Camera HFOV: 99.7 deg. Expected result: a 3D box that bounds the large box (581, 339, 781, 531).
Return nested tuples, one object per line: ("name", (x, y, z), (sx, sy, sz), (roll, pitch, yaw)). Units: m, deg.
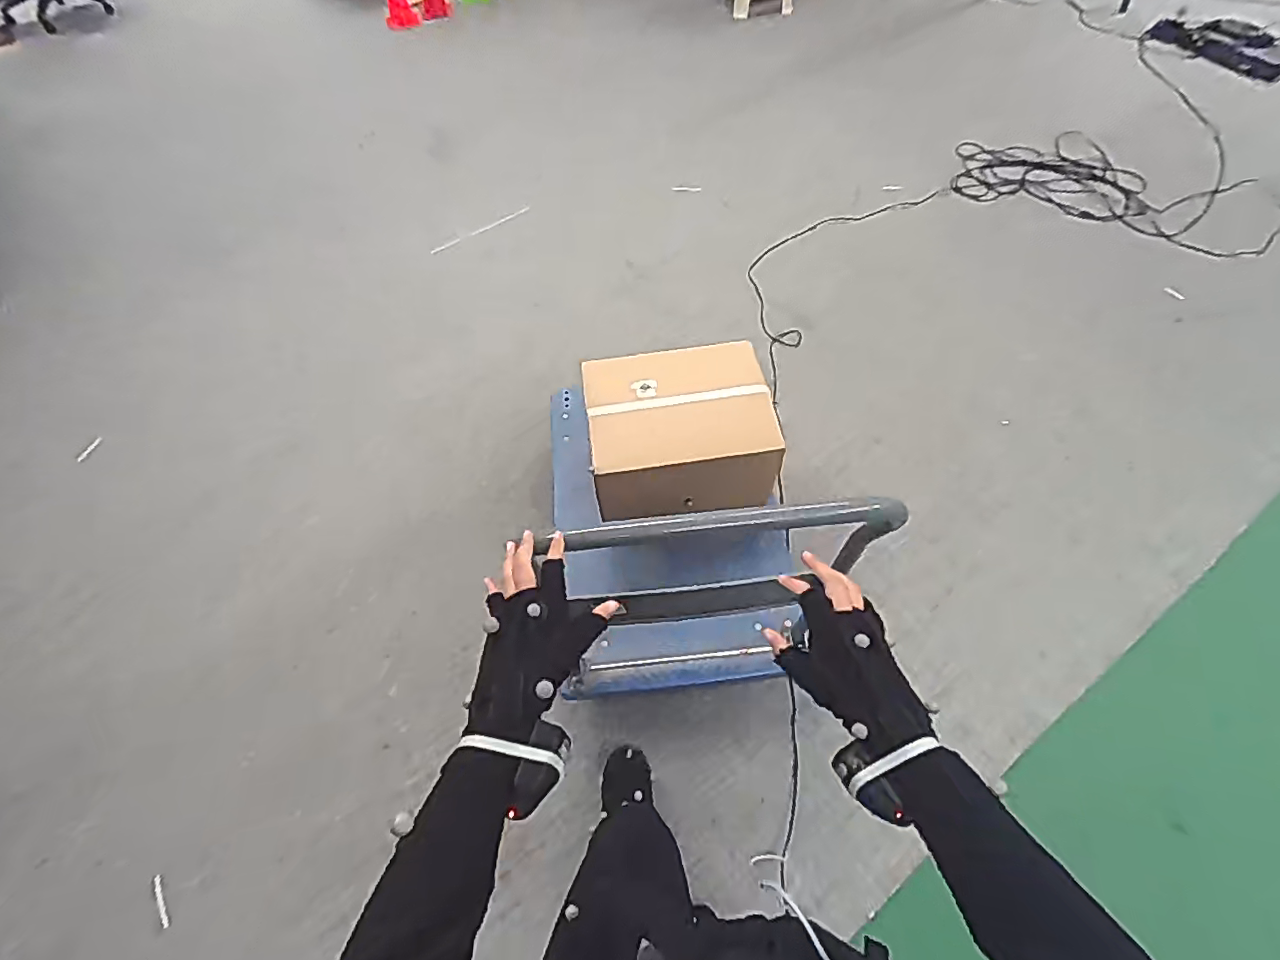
("large box", (0.088, -0.099, 1.323), (0.408, 0.320, 0.320), (-9, 59, -1))
